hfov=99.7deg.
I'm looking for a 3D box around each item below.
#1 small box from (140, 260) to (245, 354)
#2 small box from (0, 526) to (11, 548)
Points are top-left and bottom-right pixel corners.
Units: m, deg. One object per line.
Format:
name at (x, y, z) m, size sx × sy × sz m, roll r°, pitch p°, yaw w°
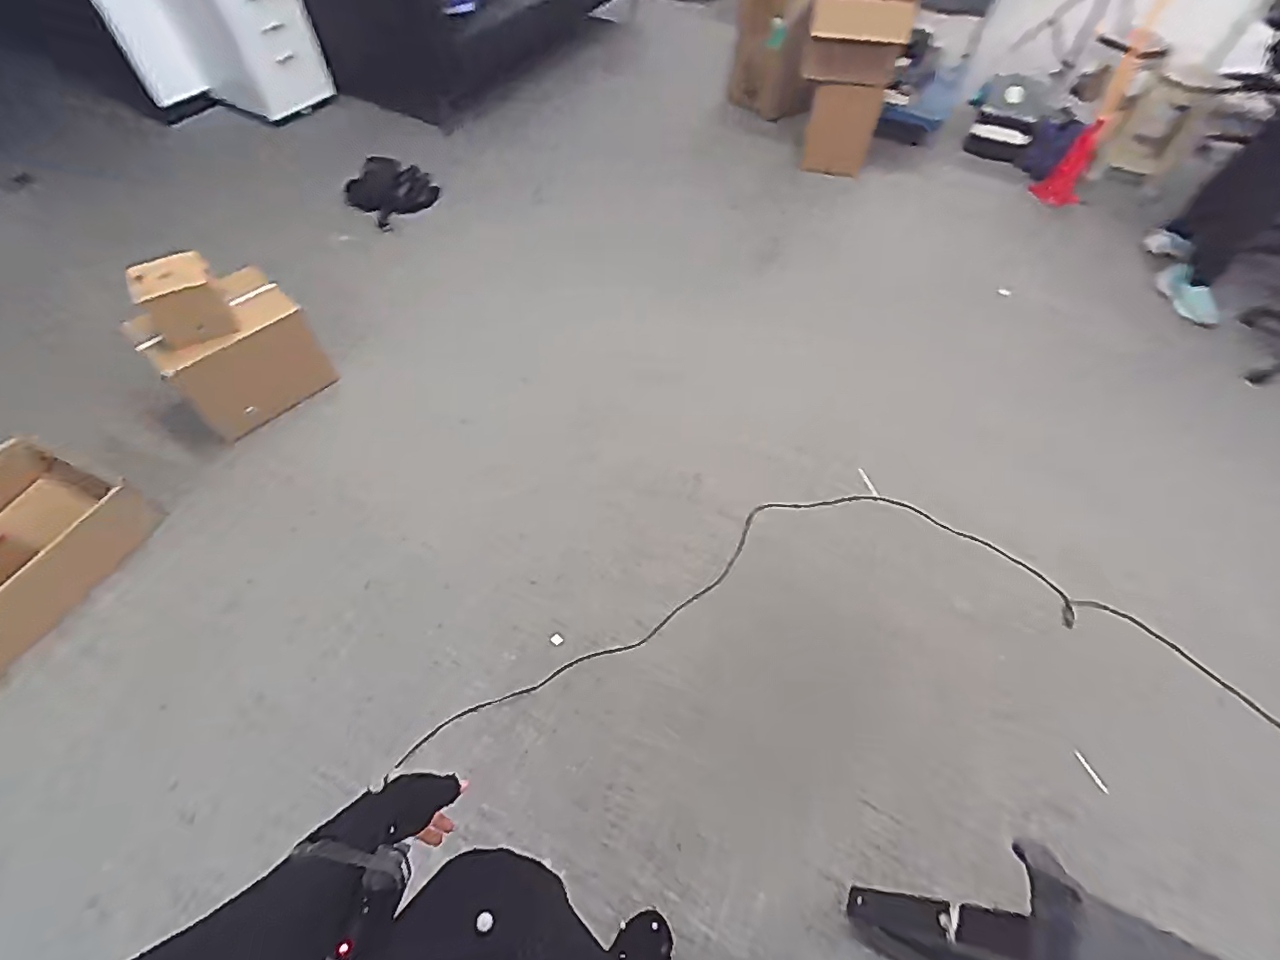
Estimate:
small box at (-1.276, -0.495, 1.556) m, size 0.179 × 0.176 × 0.168 m, roll -27°, pitch 61°, yaw -20°
small box at (-1.646, 0.125, 1.239) m, size 0.168 × 0.176 × 0.179 m, roll 24°, pitch 57°, yaw 13°
